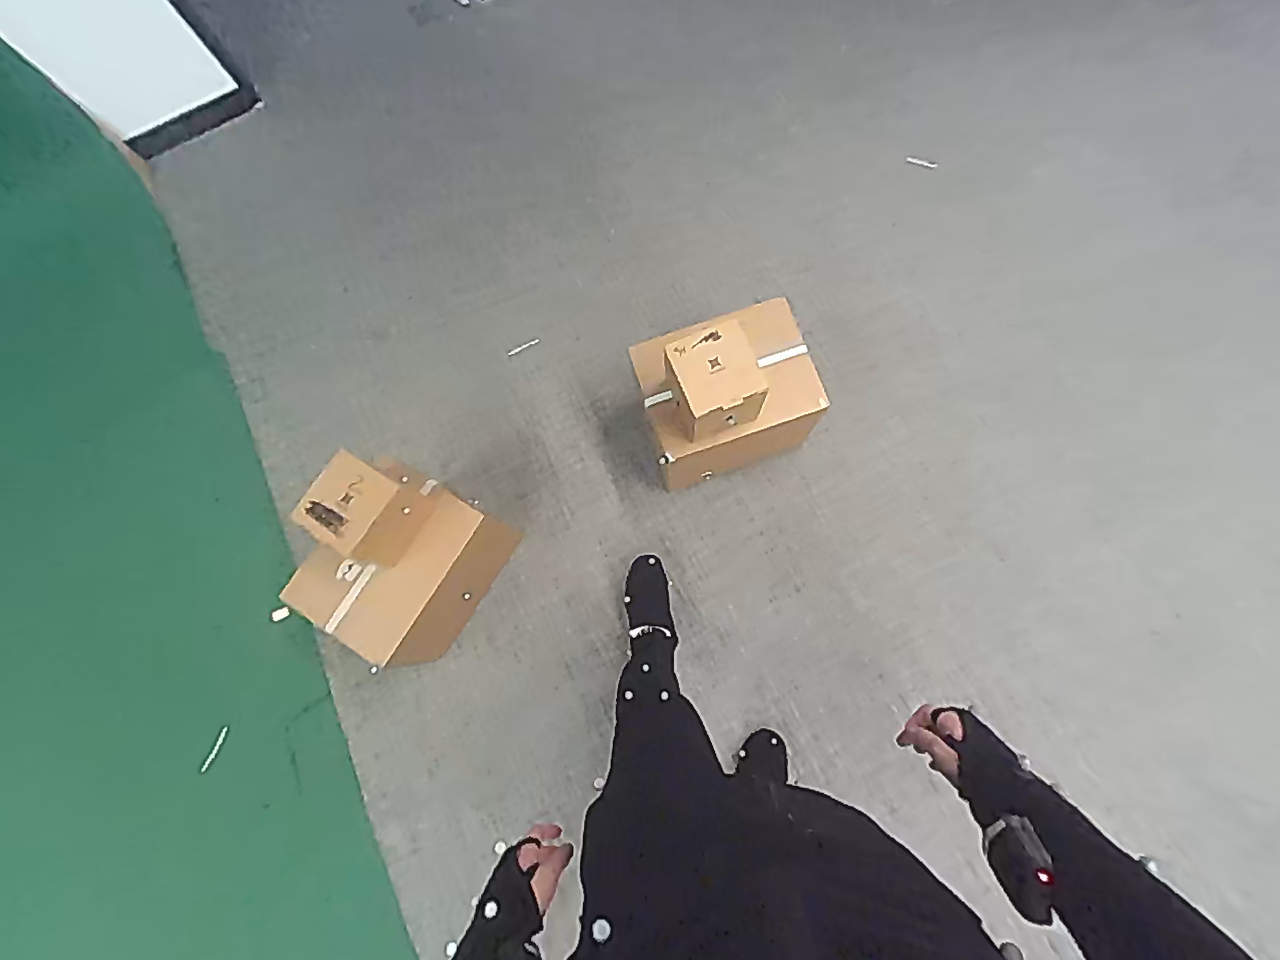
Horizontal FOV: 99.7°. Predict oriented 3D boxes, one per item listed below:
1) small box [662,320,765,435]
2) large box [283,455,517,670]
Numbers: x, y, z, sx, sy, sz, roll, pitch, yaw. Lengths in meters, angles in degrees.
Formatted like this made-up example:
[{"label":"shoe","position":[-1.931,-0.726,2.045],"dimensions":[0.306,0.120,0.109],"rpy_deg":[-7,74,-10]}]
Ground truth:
[{"label":"small box","position":[0.156,-0.213,1.184],"dimensions":[0.168,0.176,0.179],"rpy_deg":[-21,77,-2]},{"label":"large box","position":[-0.578,0.210,1.384],"dimensions":[0.320,0.320,0.408],"rpy_deg":[29,80,12]}]
